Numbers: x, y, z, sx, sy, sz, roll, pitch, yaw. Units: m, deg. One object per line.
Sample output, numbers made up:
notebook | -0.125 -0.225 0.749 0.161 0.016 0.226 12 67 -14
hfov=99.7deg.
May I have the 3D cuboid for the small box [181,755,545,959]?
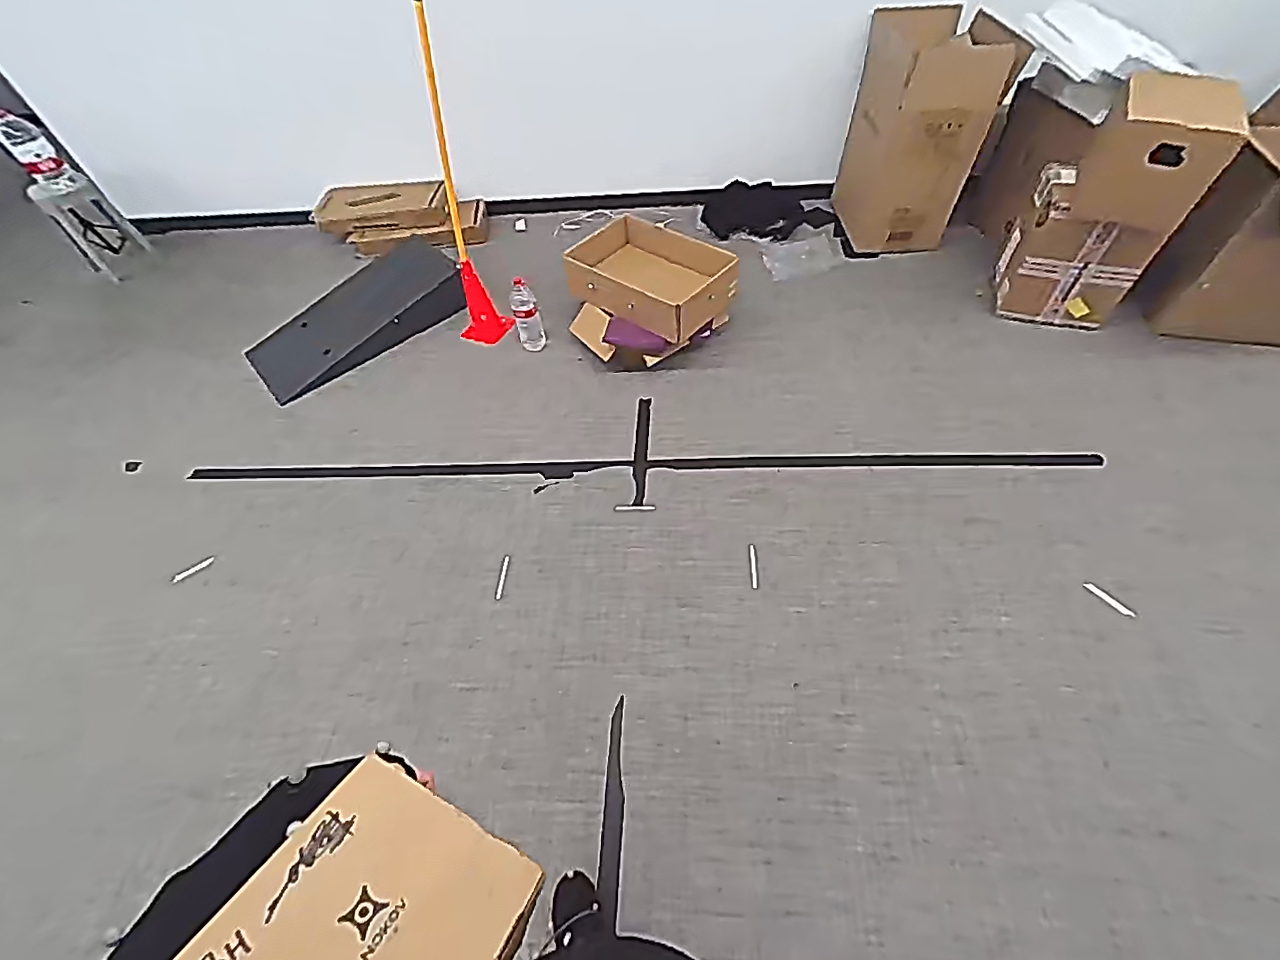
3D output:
small box | -0.200 0.364 0.418 0.179 0.176 0.168 26 35 12
